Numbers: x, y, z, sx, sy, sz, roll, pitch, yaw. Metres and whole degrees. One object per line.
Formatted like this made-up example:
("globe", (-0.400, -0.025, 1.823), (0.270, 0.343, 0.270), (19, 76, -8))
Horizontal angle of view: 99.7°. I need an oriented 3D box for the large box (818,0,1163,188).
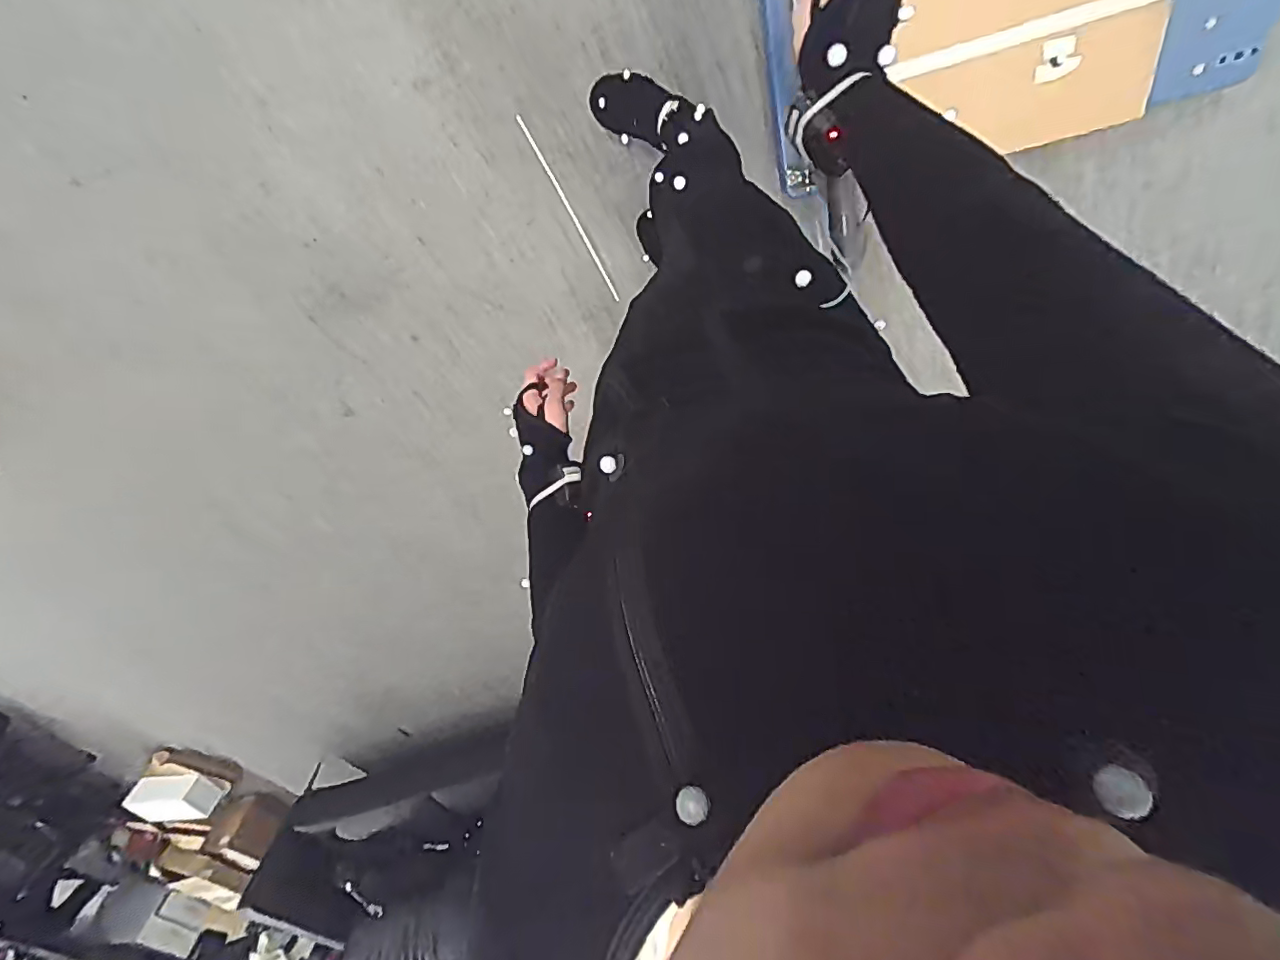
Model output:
("large box", (0.543, -0.735, 0.907), (0.408, 0.320, 0.320), (-10, 126, 12))
